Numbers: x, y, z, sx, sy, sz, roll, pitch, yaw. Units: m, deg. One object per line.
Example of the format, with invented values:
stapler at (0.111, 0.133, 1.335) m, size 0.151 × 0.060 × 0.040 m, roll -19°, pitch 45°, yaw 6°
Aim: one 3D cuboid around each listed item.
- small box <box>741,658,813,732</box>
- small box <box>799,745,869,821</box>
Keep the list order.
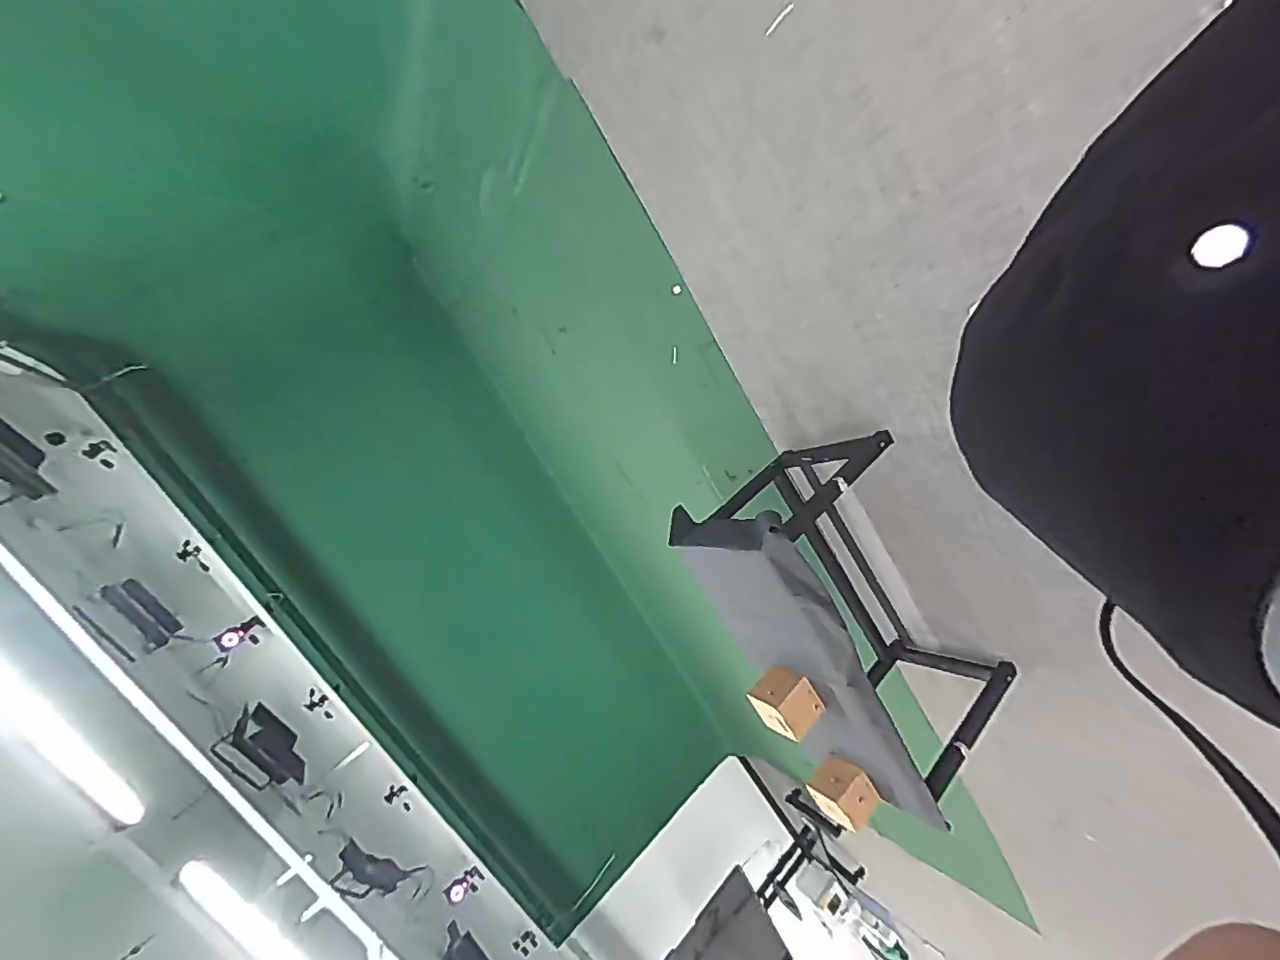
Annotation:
small box at (0.521, 0.796, 2.028) m, size 0.168 × 0.176 × 0.179 m, roll 57°, pitch 156°, yaw -13°
small box at (0.773, 1.185, 2.130) m, size 0.168 × 0.176 × 0.179 m, roll 58°, pitch 155°, yaw -11°
